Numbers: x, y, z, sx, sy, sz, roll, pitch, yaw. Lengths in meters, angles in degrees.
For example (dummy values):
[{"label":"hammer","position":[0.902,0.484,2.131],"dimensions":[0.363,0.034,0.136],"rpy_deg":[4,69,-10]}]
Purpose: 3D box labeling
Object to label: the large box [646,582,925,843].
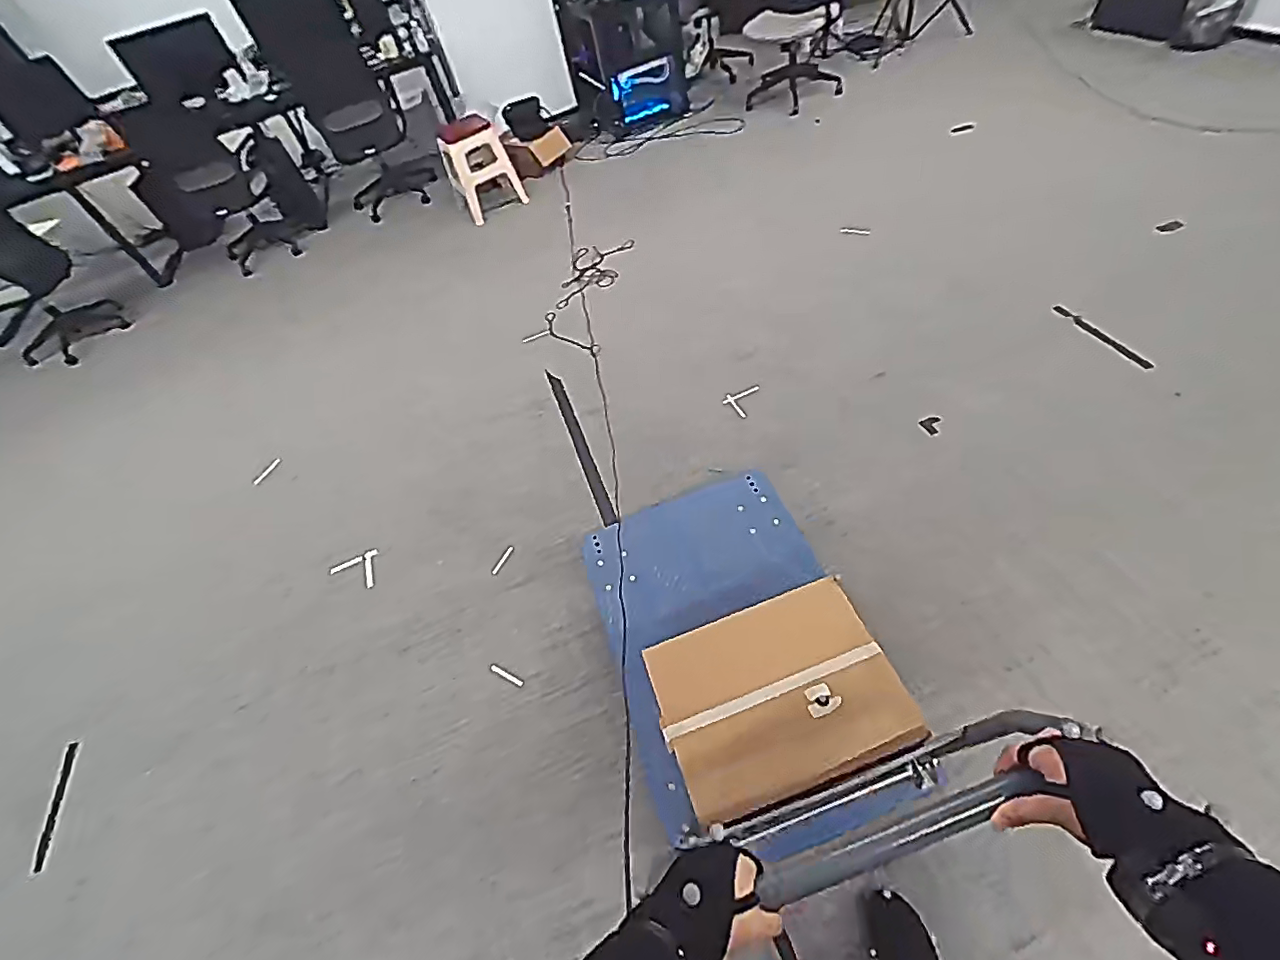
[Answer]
[{"label":"large box","position":[0.267,0.471,1.085],"dimensions":[0.408,0.320,0.320],"rpy_deg":[-21,53,-3]}]
